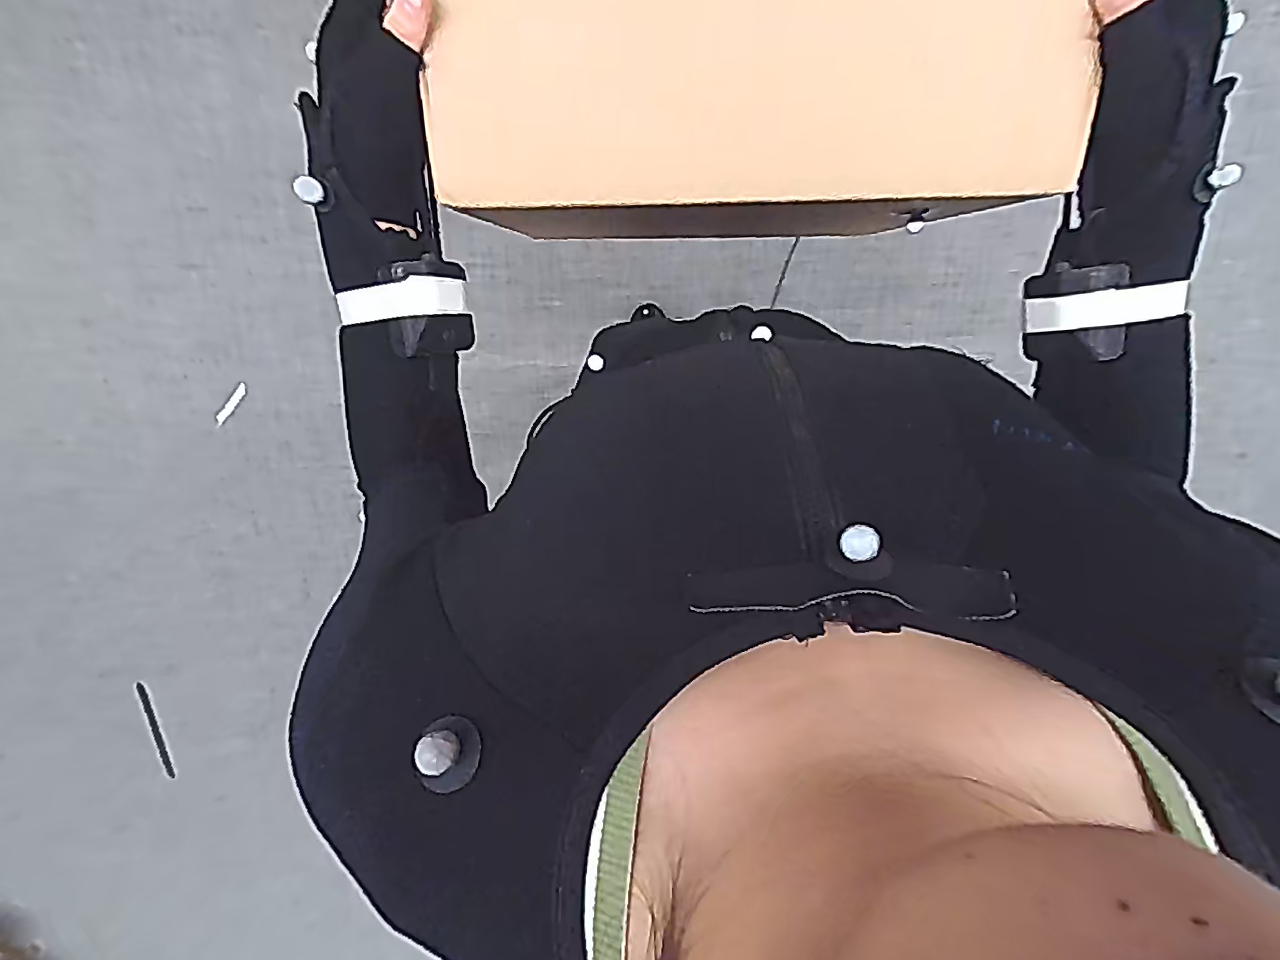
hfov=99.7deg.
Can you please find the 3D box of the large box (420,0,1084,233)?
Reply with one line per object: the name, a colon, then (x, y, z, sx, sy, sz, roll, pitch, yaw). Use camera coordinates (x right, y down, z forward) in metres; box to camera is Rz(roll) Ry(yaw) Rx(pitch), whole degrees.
large box: (0.068, -0.383, 0.443, 0.408, 0.320, 0.320, -1, 110, 1)
